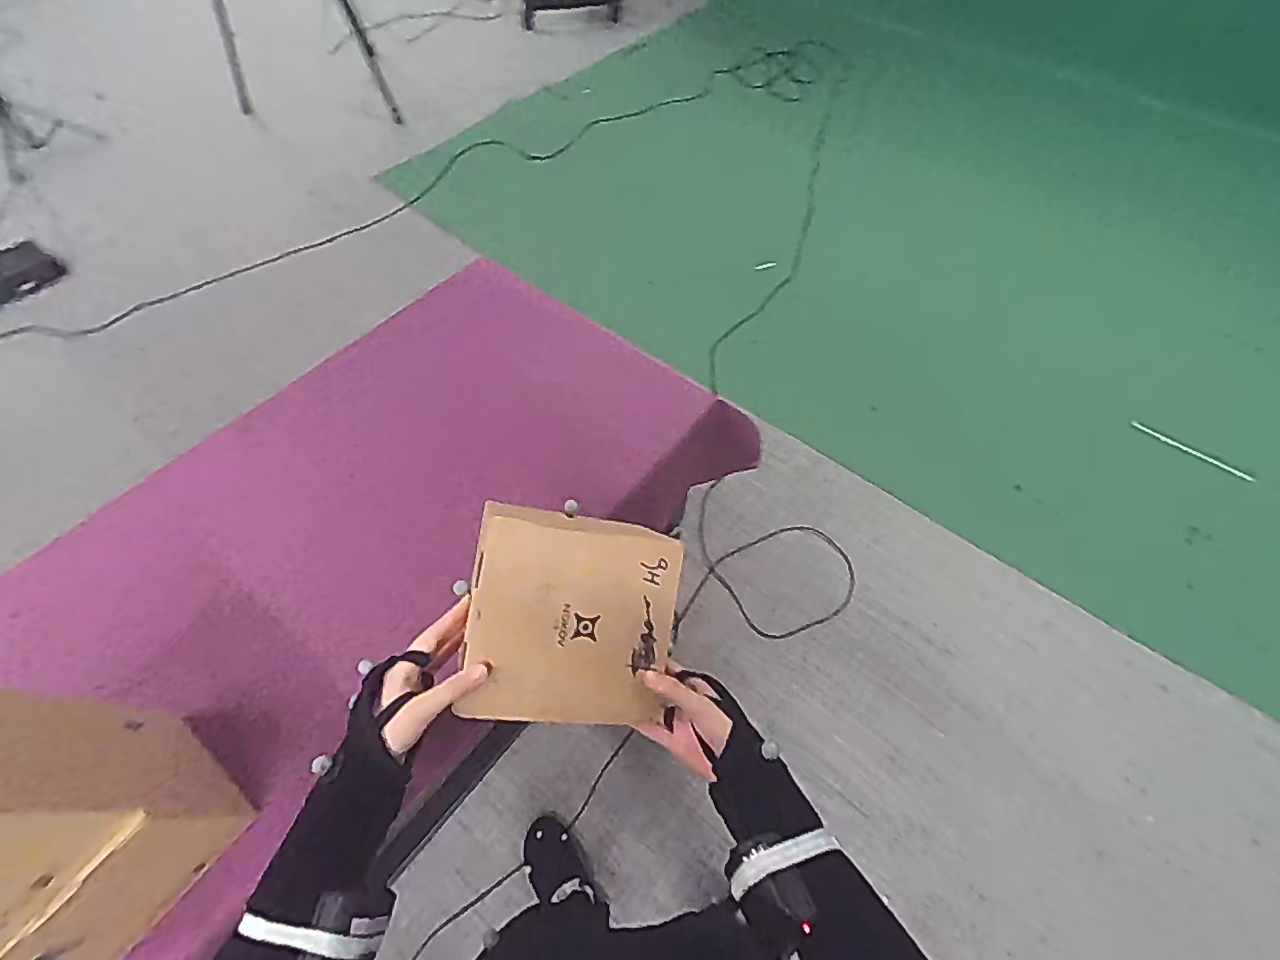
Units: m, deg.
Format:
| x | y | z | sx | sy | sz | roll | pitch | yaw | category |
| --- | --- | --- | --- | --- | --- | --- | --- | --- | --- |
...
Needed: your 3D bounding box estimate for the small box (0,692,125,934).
| x | y | z | sx | sy | sz | roll | pitch | yaw | category |
| --- | --- | --- | --- | --- | --- | --- | --- | --- | --- |
| -0.568 | 0.269 | 0.411 | 0.179 | 0.176 | 0.168 | 30 | 64 | 19 | small box |
